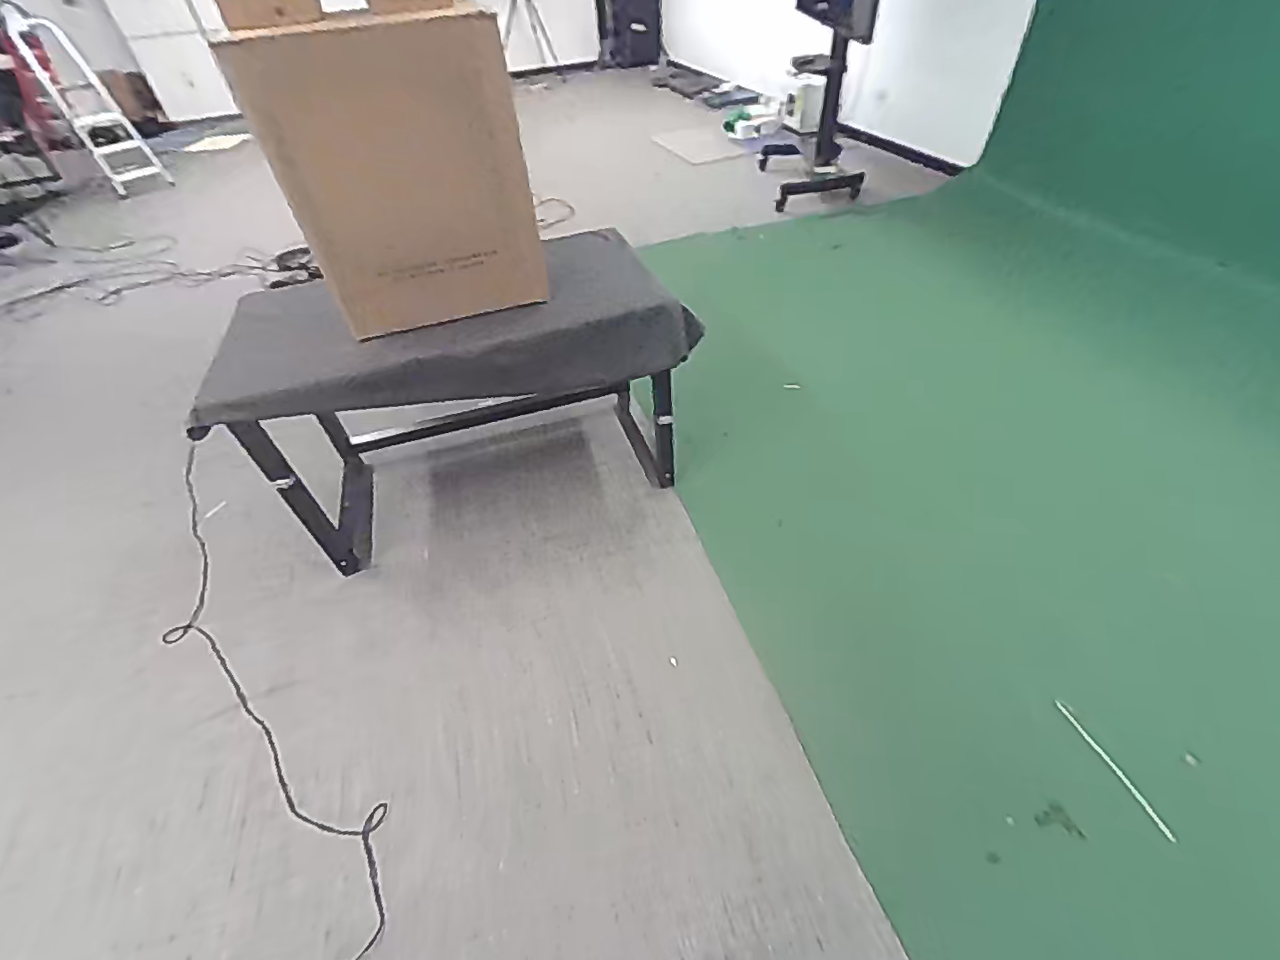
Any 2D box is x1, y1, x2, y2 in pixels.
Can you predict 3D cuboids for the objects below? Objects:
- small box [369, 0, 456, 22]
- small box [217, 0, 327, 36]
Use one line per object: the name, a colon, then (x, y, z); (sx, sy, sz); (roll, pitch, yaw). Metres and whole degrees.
small box: (-0.478, -1.041, 1.090); (0.168, 0.176, 0.179); (-14, 46, -12)
small box: (-0.730, -0.976, 1.042); (0.168, 0.176, 0.179); (-15, 48, -11)
